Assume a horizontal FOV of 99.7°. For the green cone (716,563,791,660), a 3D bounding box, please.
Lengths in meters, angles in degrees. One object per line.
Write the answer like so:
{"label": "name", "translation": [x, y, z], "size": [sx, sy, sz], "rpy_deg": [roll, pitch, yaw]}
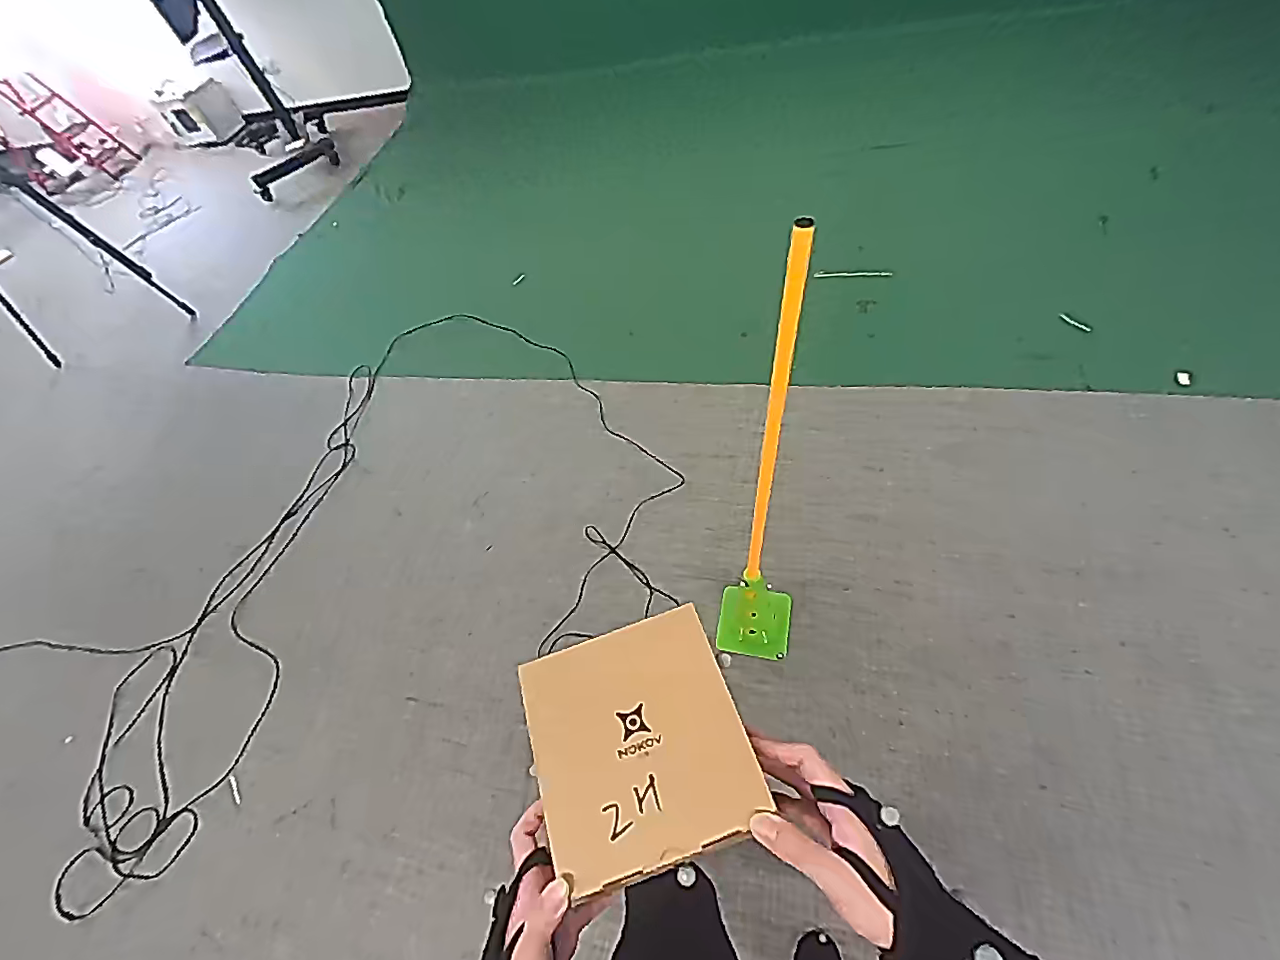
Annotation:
{"label": "green cone", "translation": [0.296, 0.311, 1.425], "size": [0.202, 0.368, 0.200], "rpy_deg": [5, 57, 17]}
